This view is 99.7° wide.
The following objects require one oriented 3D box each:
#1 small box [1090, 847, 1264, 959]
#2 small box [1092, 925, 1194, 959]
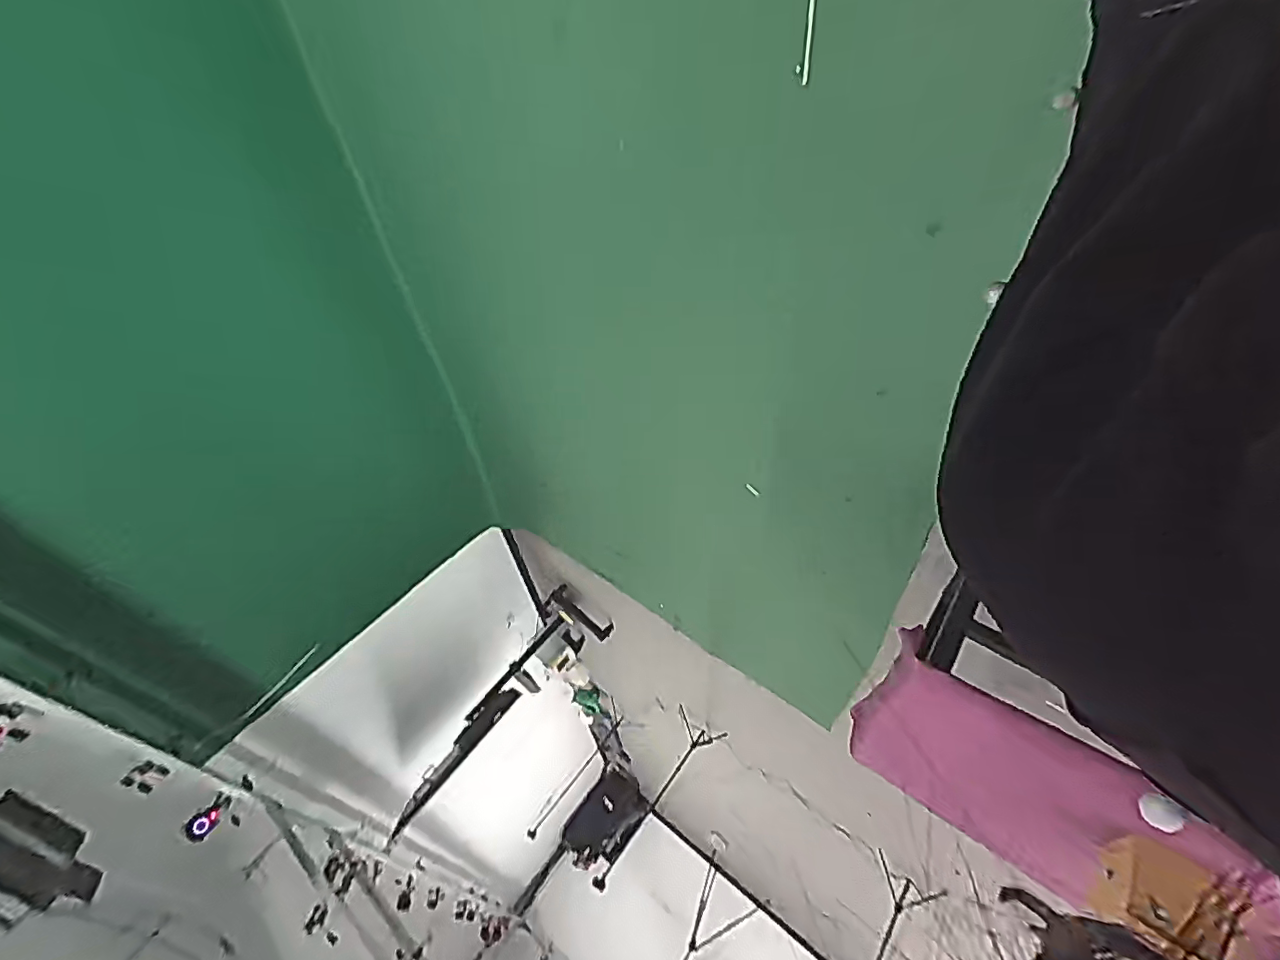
[{"bbox_3d":[1.014,0.835,1.028,0.179,0.176,0.168,26,146,30],"label":"small box"},{"bbox_3d":[0.913,0.924,0.932,0.179,0.176,0.168,26,144,31],"label":"small box"}]
